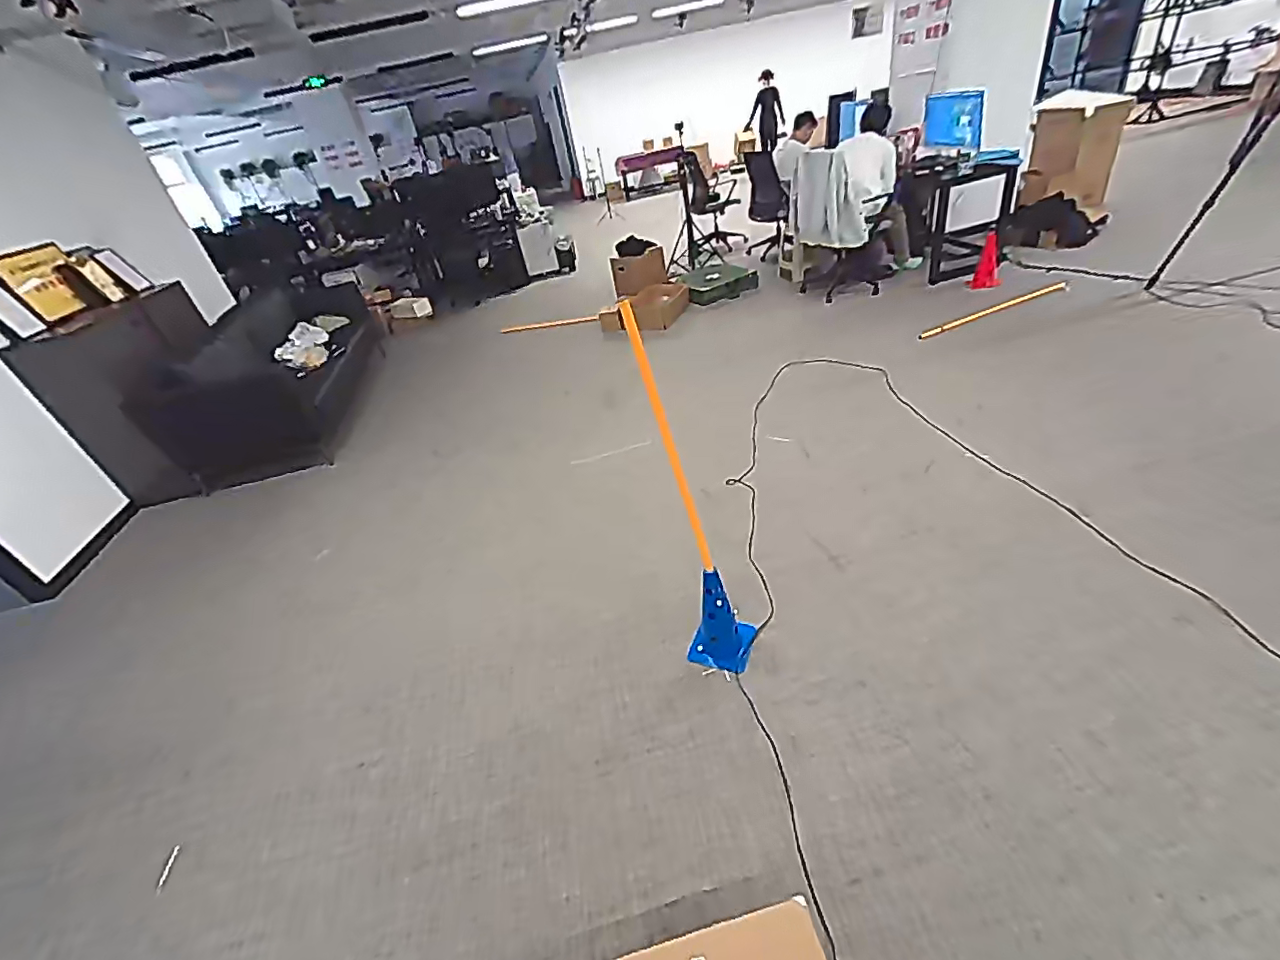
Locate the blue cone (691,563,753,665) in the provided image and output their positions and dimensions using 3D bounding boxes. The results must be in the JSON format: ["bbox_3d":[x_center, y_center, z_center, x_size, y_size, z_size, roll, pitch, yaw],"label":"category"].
[{"bbox_3d":[0.248,0.413,1.750,0.192,0.380,0.193,3,38,24],"label":"blue cone"}]
